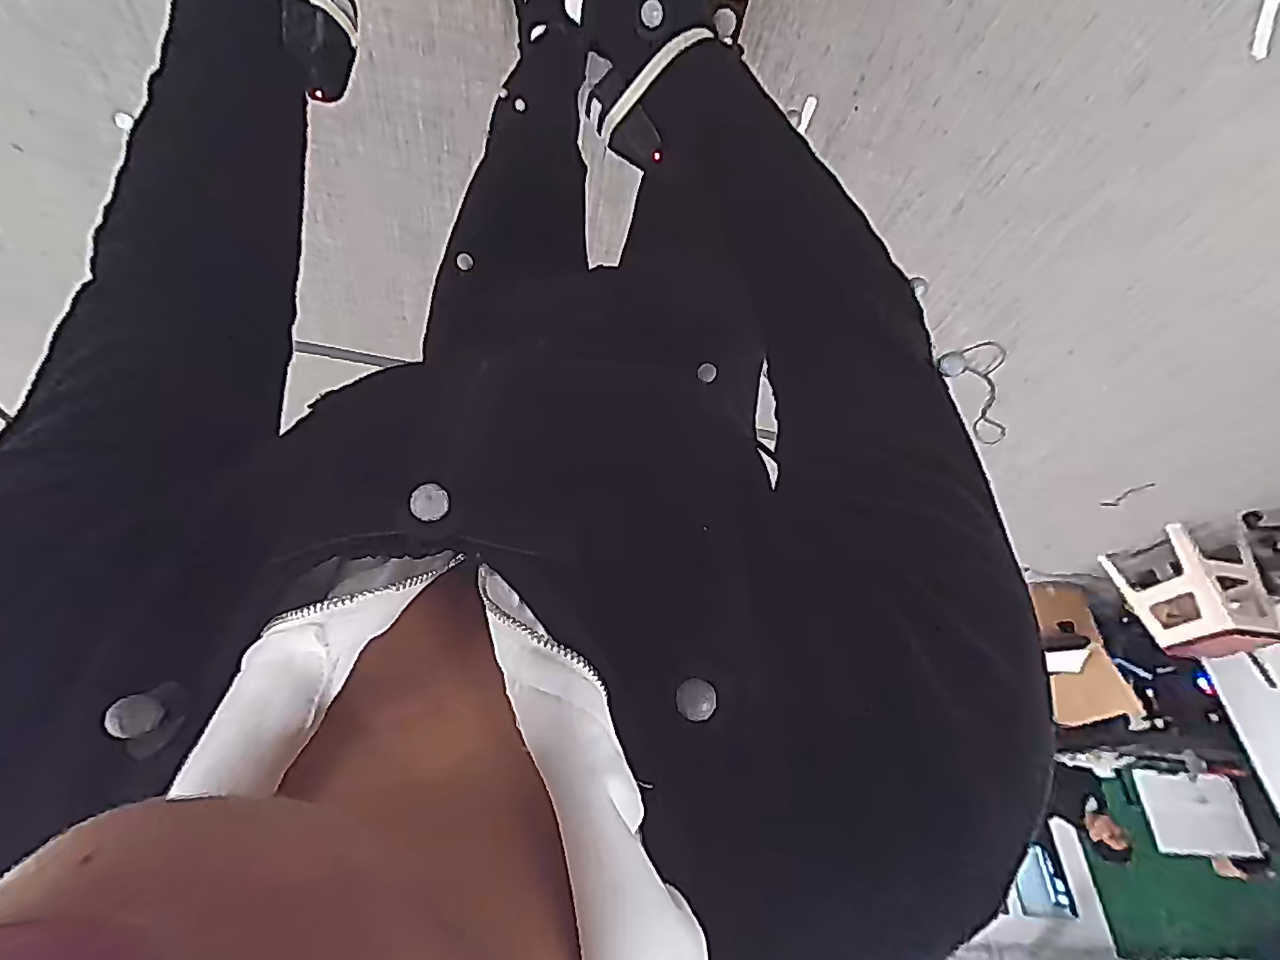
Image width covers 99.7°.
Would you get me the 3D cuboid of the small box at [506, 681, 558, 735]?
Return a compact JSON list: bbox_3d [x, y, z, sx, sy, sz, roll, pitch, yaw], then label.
[{"bbox_3d":[-0.420,0.893,2.118,0.179,0.176,0.168,5,147,-6],"label":"small box"}]
